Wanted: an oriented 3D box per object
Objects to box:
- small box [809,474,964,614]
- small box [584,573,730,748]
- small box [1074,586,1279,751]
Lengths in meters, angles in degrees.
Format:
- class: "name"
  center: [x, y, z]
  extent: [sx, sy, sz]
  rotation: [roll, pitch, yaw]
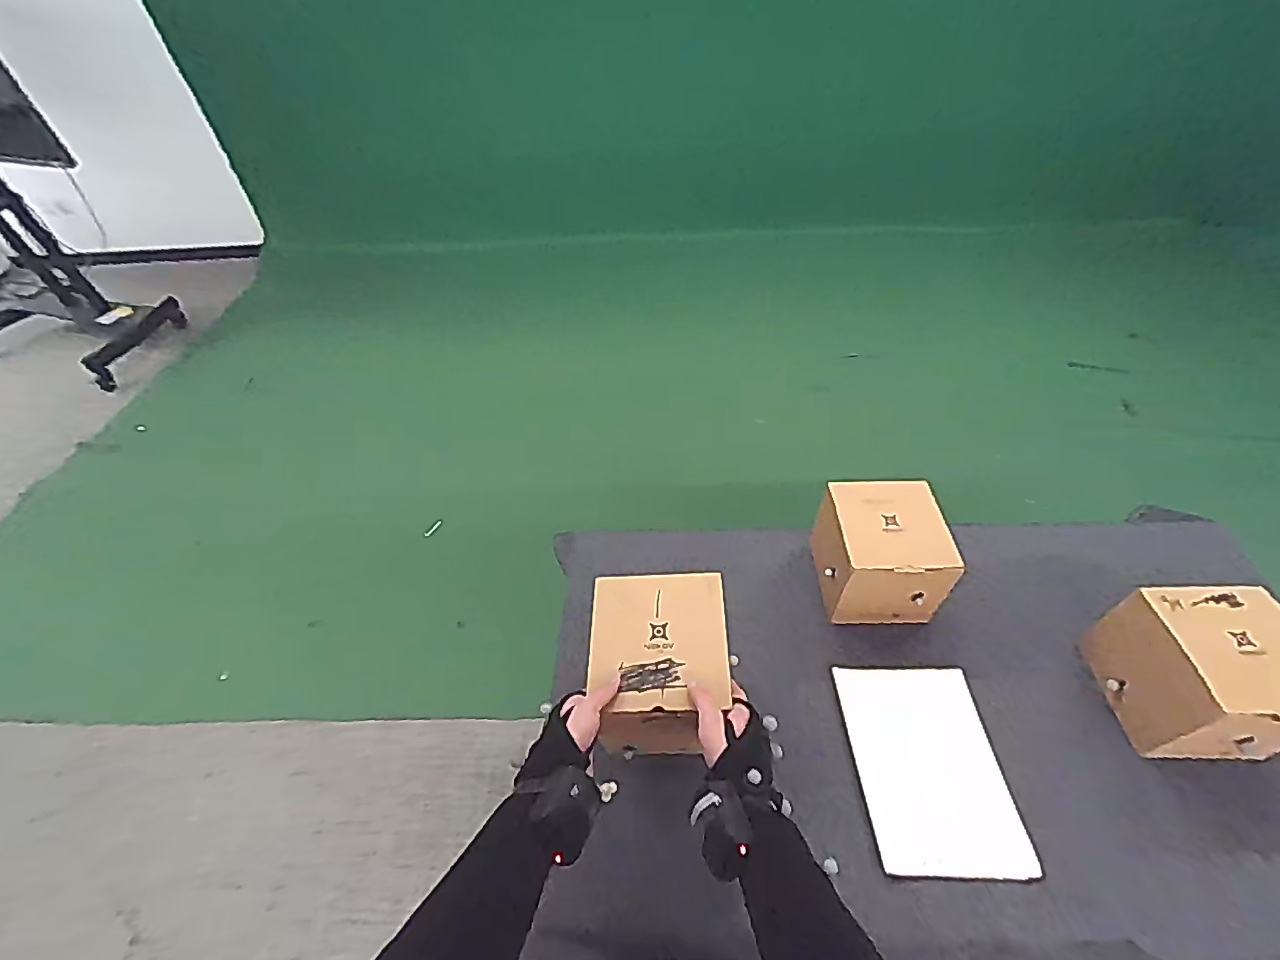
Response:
- class: "small box"
  center: [0.392, 0.110, 0.897]
  extent: [0.168, 0.176, 0.179]
  rotation: [-1, 47, 1]
- class: "small box"
  center: [0.030, 0.241, 0.709]
  extent: [0.168, 0.176, 0.179]
  rotation: [-3, 50, 6]
- class: "small box"
  center: [0.769, 0.266, 0.753]
  extent: [0.168, 0.176, 0.179]
  rotation: [-1, 49, 3]
